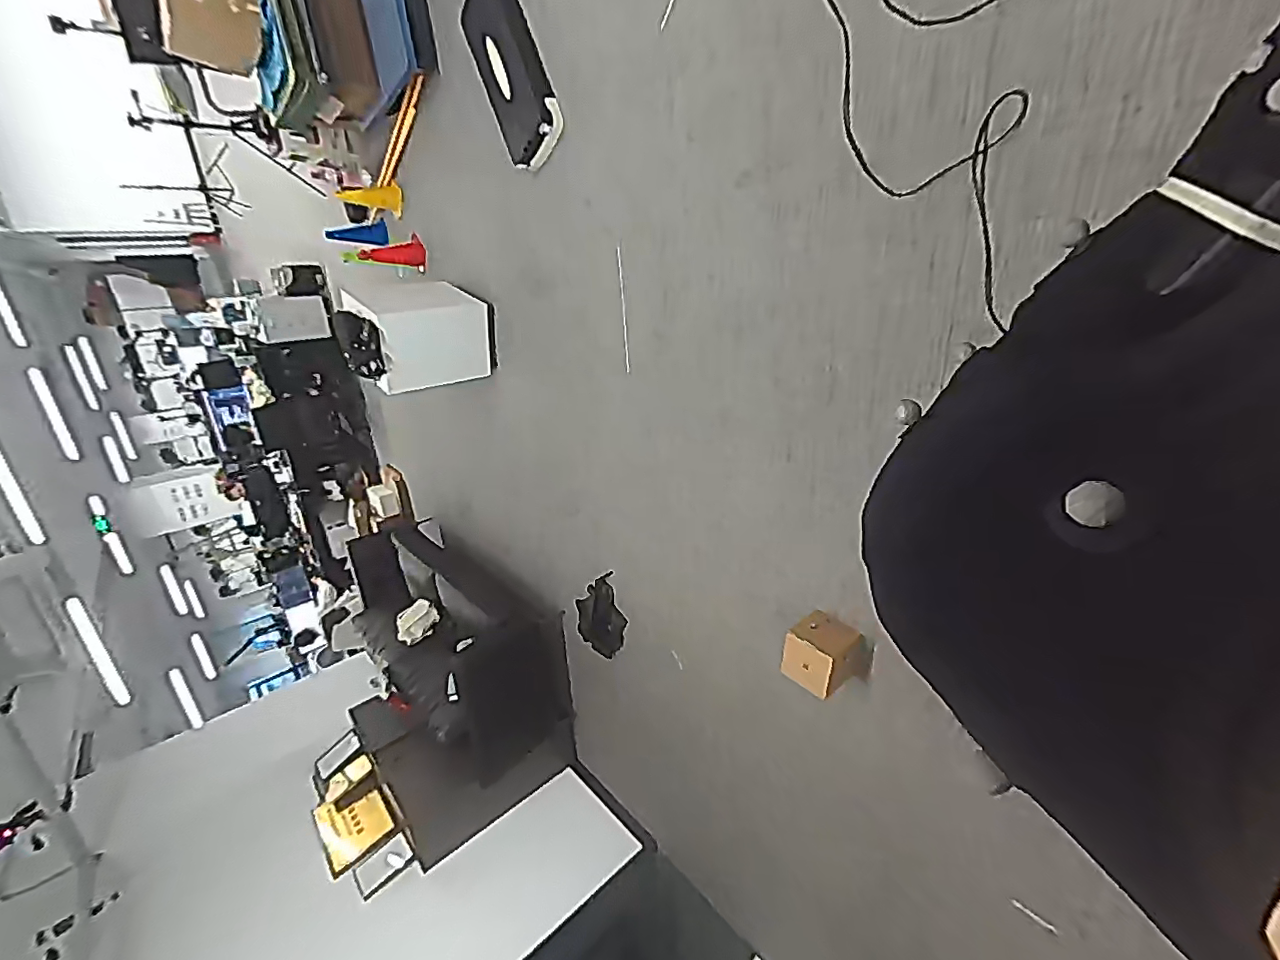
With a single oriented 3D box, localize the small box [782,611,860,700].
[{"bbox_3d":[0.577,0.550,1.719,0.168,0.176,0.179,26,127,44],"label":"small box"}]
